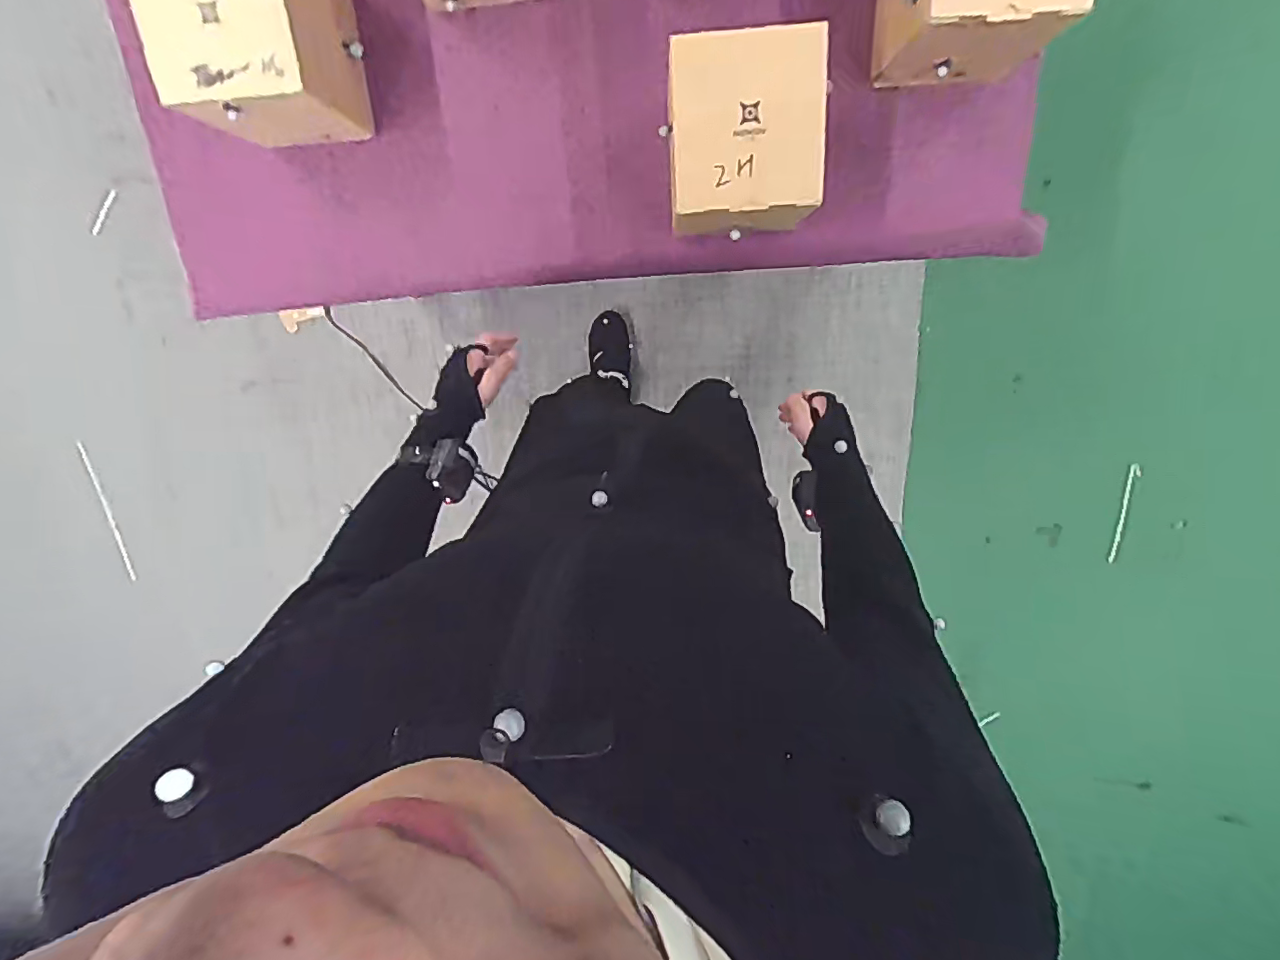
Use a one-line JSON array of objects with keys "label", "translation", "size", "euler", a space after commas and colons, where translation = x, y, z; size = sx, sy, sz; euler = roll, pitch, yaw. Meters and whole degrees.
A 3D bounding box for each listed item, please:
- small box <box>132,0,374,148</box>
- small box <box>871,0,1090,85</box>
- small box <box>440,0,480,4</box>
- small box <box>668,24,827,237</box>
[{"label": "small box", "translation": [-0.451, -0.526, 0.647], "size": [0.168, 0.176, 0.179], "euler": [-3, 107, 4]}, {"label": "small box", "translation": [0.377, -0.582, 0.608], "size": [0.168, 0.176, 0.179], "euler": [-2, 108, 3]}, {"label": "small box", "translation": [-0.198, -0.671, 0.597], "size": [0.168, 0.176, 0.179], "euler": [-5, 106, 3]}, {"label": "small box", "translation": [0.121, -0.412, 0.666], "size": [0.168, 0.176, 0.179], "euler": [-2, 106, 3]}]
